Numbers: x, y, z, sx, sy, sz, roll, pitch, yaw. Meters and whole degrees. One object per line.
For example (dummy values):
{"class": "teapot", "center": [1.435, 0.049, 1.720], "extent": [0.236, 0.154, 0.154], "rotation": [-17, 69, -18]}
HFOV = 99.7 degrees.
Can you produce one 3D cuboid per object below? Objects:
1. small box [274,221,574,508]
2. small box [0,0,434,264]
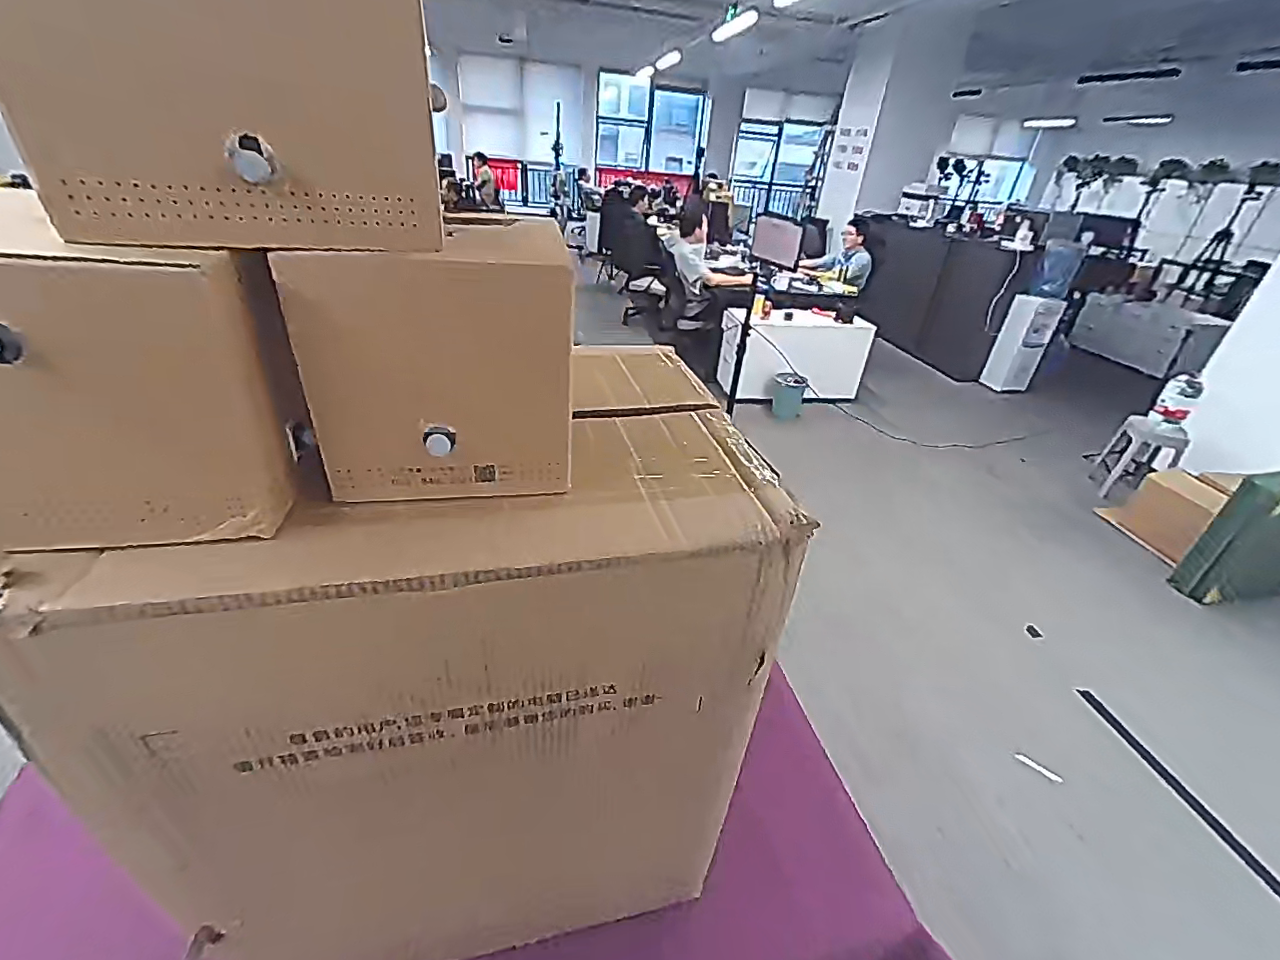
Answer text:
{"class": "small box", "center": [-0.142, -0.095, 0.418], "extent": [0.168, 0.176, 0.179], "rotation": [-3, 34, -12]}
{"class": "small box", "center": [-0.218, -0.226, 0.306], "extent": [0.179, 0.176, 0.168], "rotation": [-8, 35, -22]}
